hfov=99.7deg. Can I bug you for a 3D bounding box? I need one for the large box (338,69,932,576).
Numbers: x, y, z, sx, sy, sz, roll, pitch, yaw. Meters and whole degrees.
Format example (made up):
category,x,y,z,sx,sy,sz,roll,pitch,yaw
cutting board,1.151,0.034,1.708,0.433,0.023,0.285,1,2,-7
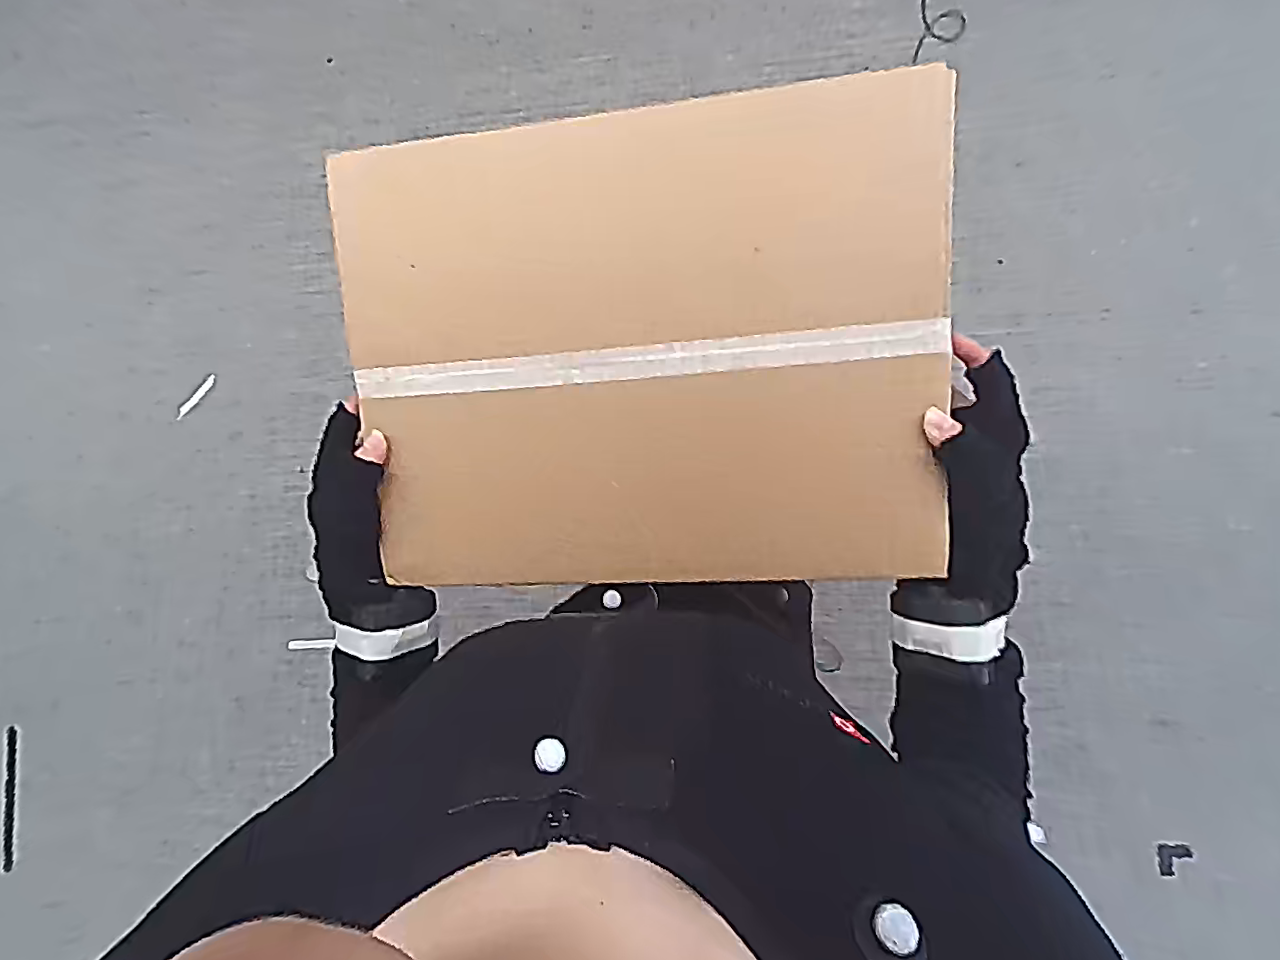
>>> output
category,x,y,z,sx,sy,sz,roll,pitch,yaw
large box,0.014,-0.109,0.520,0.408,0.320,0.320,-3,98,9
